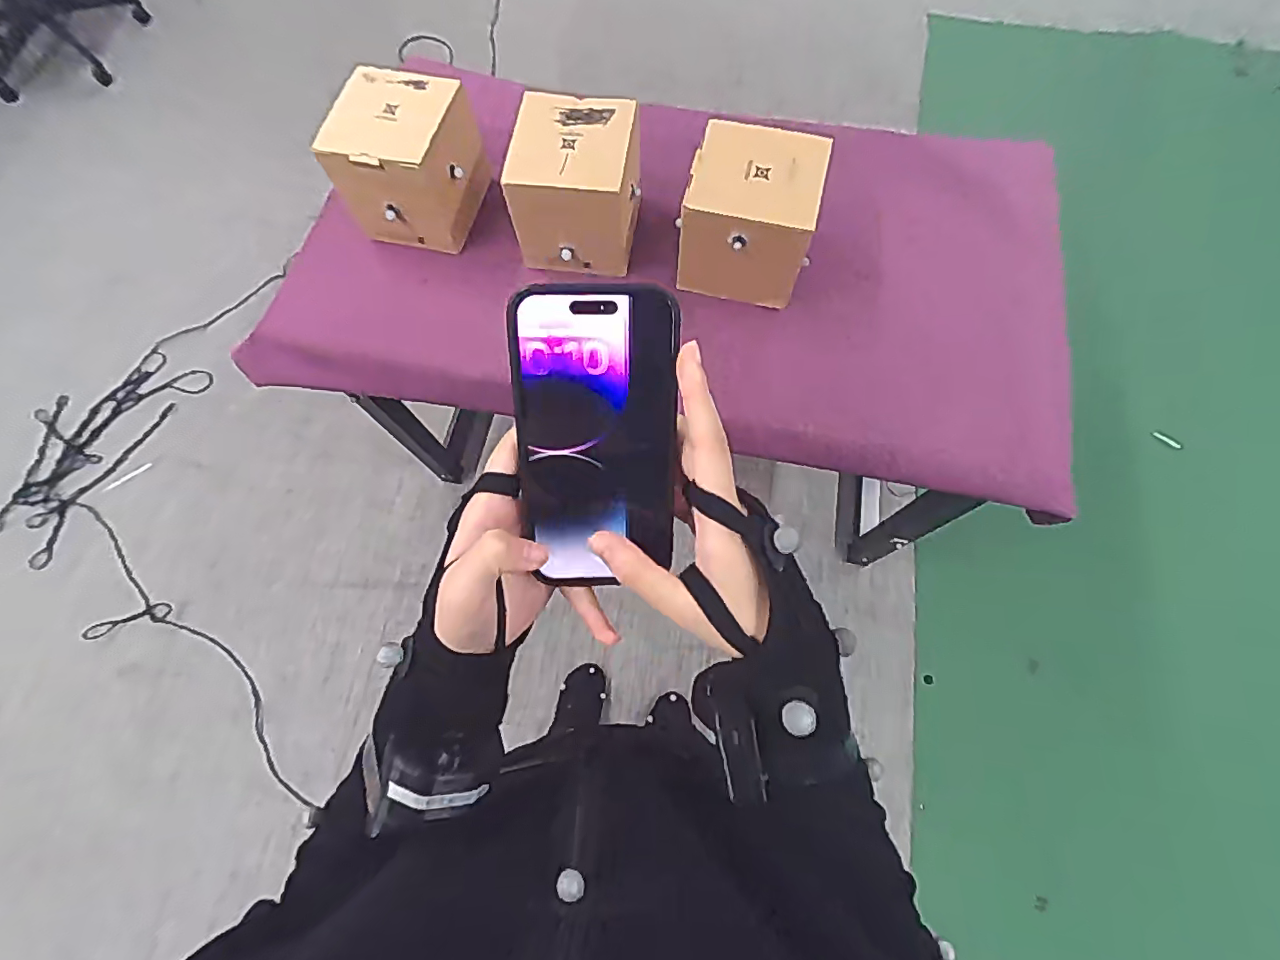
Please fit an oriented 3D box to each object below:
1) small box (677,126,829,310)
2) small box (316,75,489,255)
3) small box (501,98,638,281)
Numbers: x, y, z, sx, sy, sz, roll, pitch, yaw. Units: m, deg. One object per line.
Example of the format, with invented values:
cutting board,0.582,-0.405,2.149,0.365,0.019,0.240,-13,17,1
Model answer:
small box,0.157,-0.378,0.800,0.179,0.176,0.168,14,71,7
small box,-0.357,-0.487,0.853,0.168,0.176,0.179,12,71,6
small box,-0.095,-0.437,0.828,0.168,0.176,0.179,7,71,4
